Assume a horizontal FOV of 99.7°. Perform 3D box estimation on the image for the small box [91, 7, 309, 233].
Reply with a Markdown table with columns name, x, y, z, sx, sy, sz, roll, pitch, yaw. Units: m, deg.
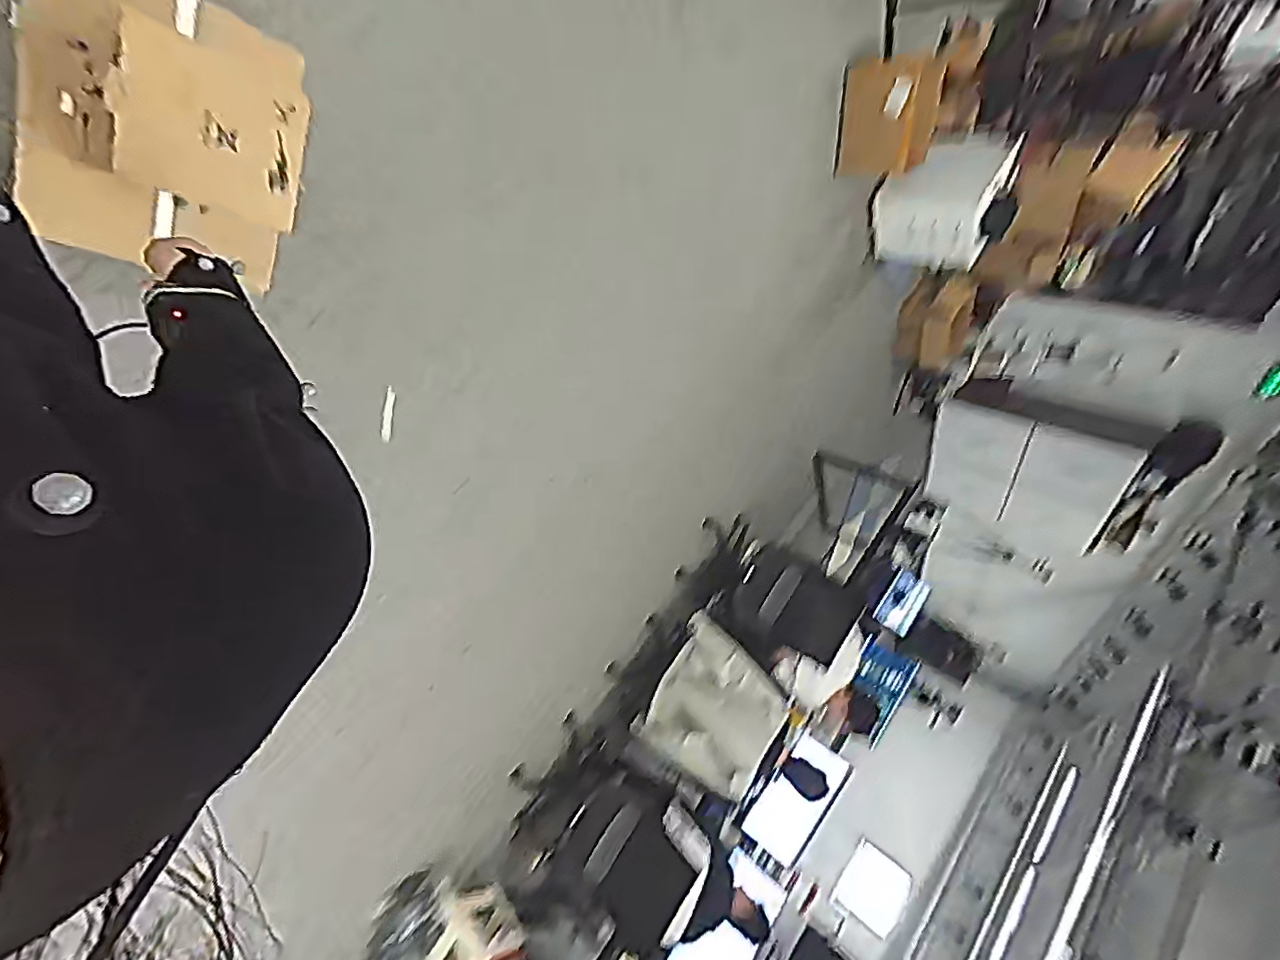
| name | x | y | z | sx | sy | sz | roll | pitch | yaw |
| --- | --- | --- | --- | --- | --- | --- | --- | --- | --- |
| small box | -0.551 | -0.430 | 0.675 | 0.179 | 0.176 | 0.168 | 2 | 111 | -51 |
